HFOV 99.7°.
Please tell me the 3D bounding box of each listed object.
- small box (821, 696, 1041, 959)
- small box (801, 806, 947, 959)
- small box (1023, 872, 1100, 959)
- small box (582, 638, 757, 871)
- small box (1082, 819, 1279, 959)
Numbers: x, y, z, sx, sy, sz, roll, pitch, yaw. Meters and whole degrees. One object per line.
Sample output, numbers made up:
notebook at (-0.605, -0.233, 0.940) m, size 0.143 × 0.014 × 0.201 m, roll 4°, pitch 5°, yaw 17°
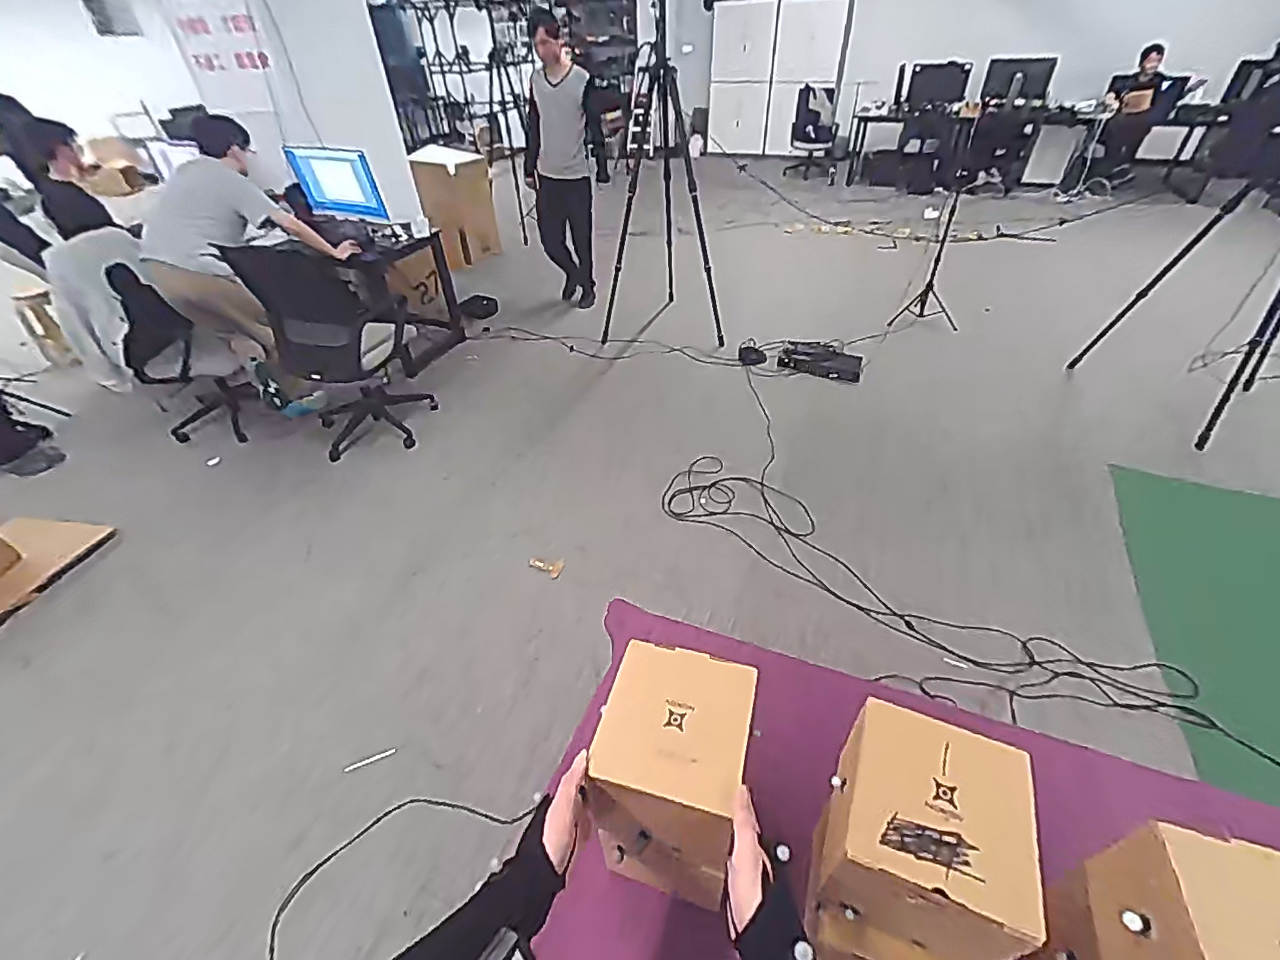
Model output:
small box at (0.304, 0.381, 0.591) m, size 0.168 × 0.176 × 0.179 m, roll 14°, pitch 43°, yaw 20°
small box at (0.304, 0.526, 0.673) m, size 0.168 × 0.176 × 0.179 m, roll 12°, pitch 43°, yaw 16°
small box at (0.550, 0.580, 0.590) m, size 0.168 × 0.176 × 0.179 m, roll 11°, pitch 41°, yaw 16°
small box at (0.042, 0.327, 0.654) m, size 0.168 × 0.176 × 0.179 m, roll 8°, pitch 40°, yaw 14°
small box at (0.546, 0.454, 0.486) m, size 0.168 × 0.176 × 0.179 m, roll 10°, pitch 40°, yaw 16°
